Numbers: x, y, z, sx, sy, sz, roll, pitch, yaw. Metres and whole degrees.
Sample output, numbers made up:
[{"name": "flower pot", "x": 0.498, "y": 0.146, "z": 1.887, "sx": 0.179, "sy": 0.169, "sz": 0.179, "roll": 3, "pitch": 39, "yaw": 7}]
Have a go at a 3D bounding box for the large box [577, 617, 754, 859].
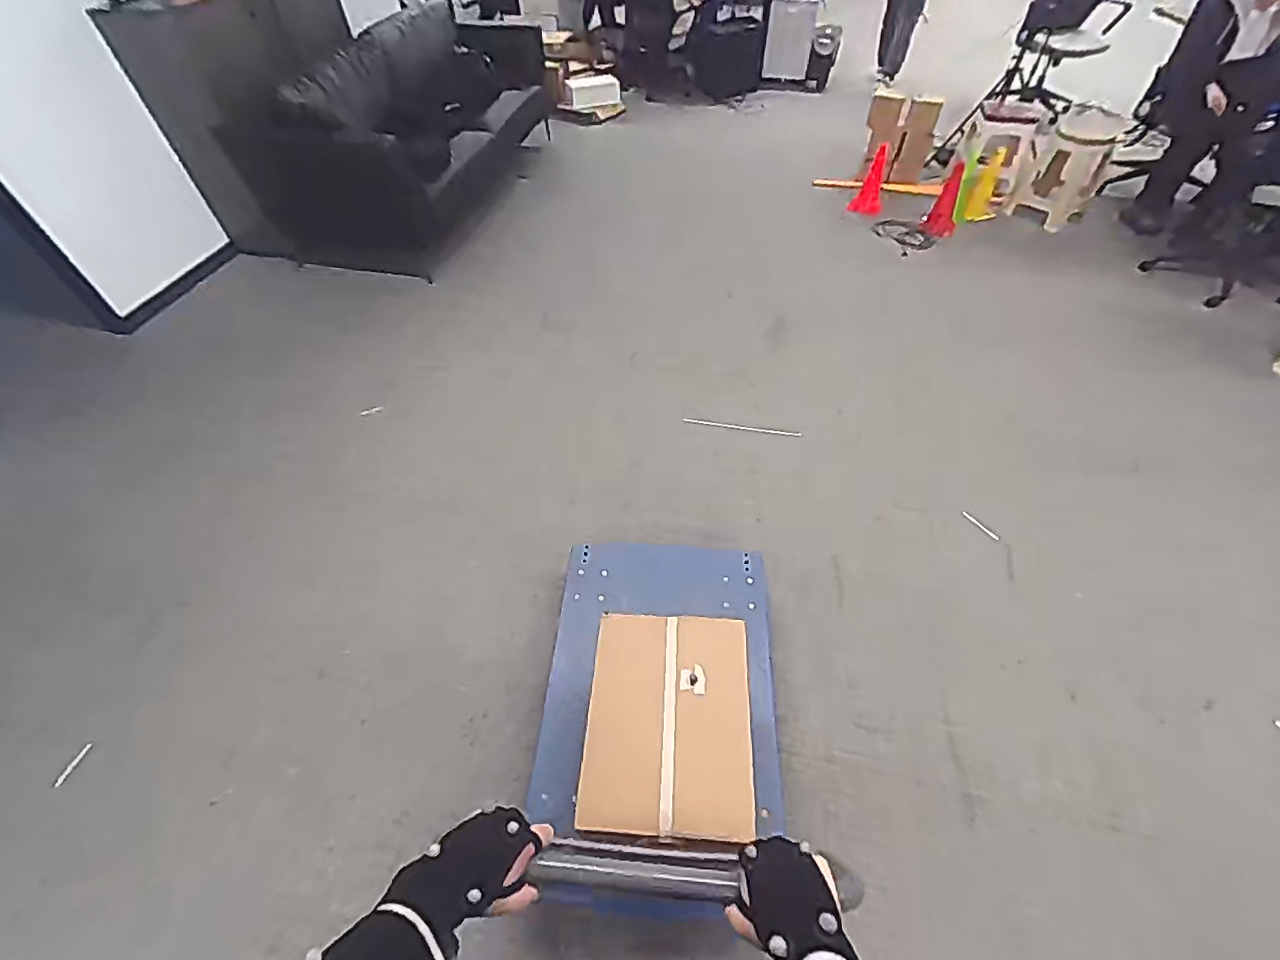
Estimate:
[{"name": "large box", "x": 0.057, "y": 0.553, "z": 1.165, "sx": 0.320, "sy": 0.320, "sz": 0.408, "roll": 2, "pitch": 49, "yaw": 3}]
